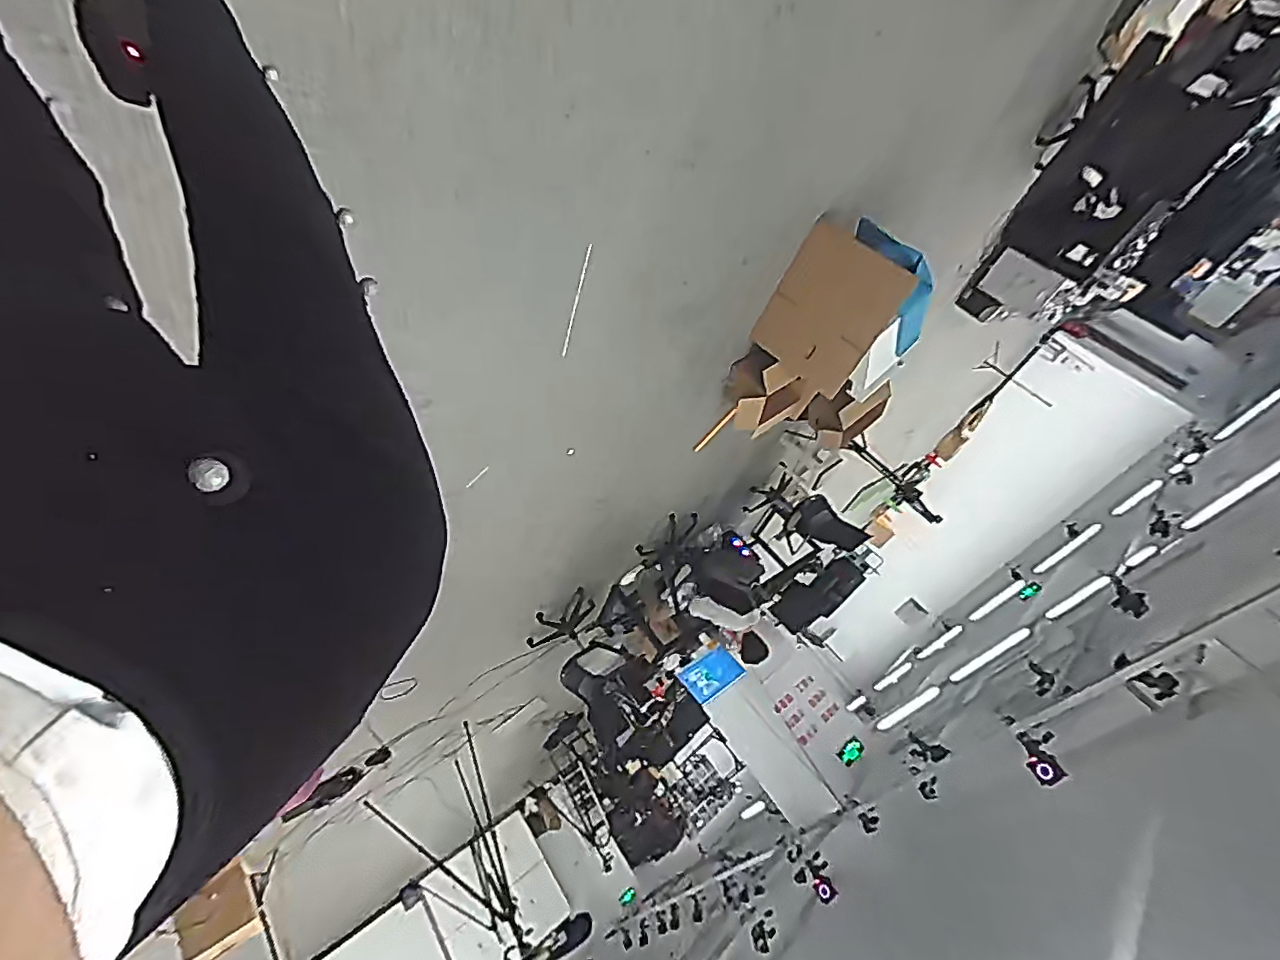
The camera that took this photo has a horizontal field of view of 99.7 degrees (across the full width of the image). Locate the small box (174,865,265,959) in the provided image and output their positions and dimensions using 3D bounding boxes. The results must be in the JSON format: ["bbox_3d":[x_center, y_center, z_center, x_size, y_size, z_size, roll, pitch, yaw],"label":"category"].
[{"bbox_3d":[-1.196,1.246,1.543,0.168,0.176,0.179,-19,146,-41],"label":"small box"}]

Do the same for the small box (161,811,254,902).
[{"bbox_3d":[-1.290,1.132,1.615,0.168,0.176,0.179,-22,149,-37],"label":"small box"}]
